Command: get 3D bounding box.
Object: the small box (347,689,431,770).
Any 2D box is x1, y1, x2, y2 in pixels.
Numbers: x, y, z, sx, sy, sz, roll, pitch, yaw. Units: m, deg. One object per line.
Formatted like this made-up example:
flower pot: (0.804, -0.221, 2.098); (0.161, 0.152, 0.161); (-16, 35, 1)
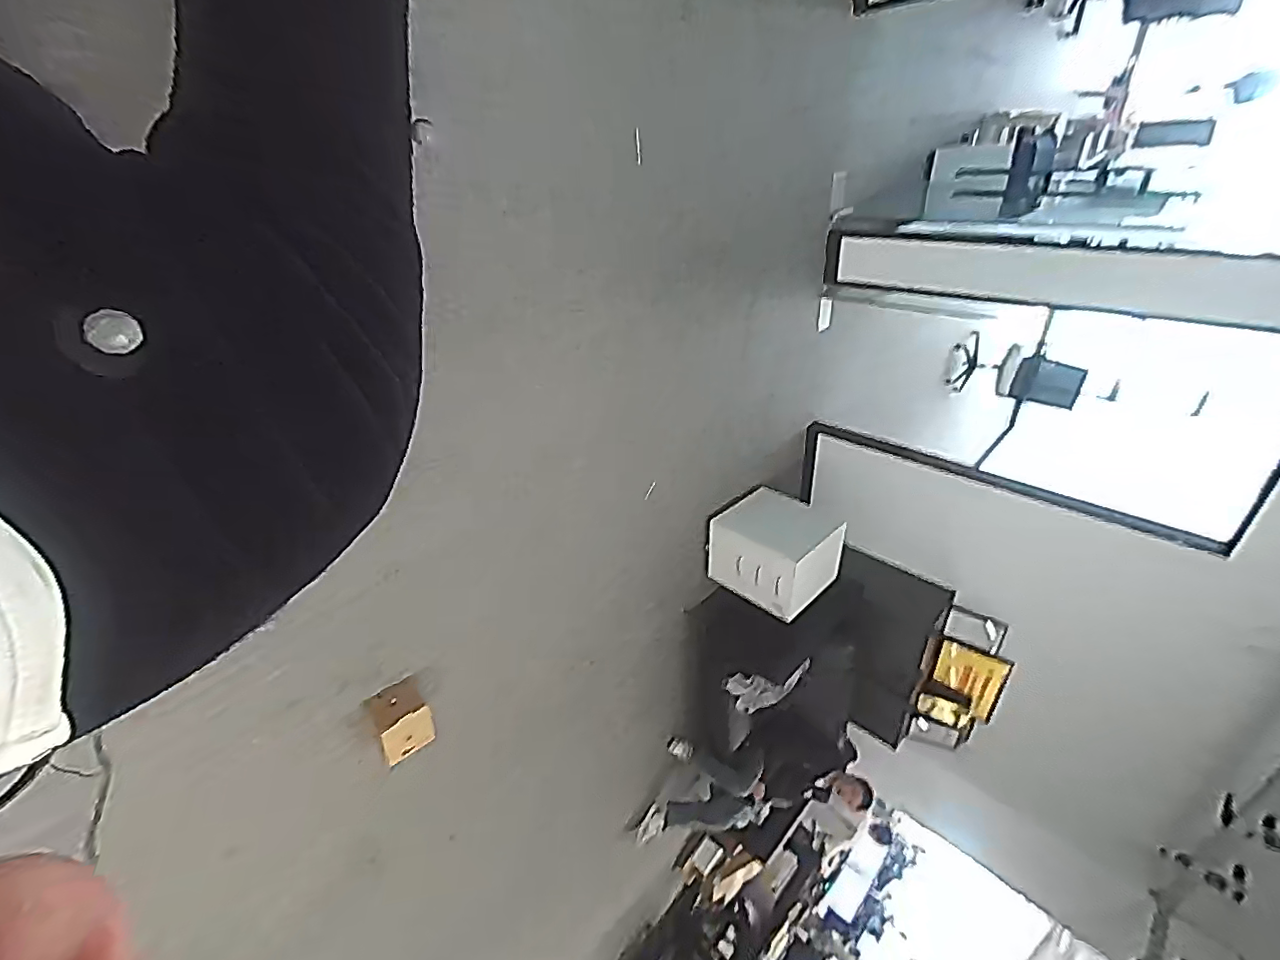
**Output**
small box: (-0.875, 0.862, 1.877); (0.179, 0.176, 0.168); (-50, 142, -21)
